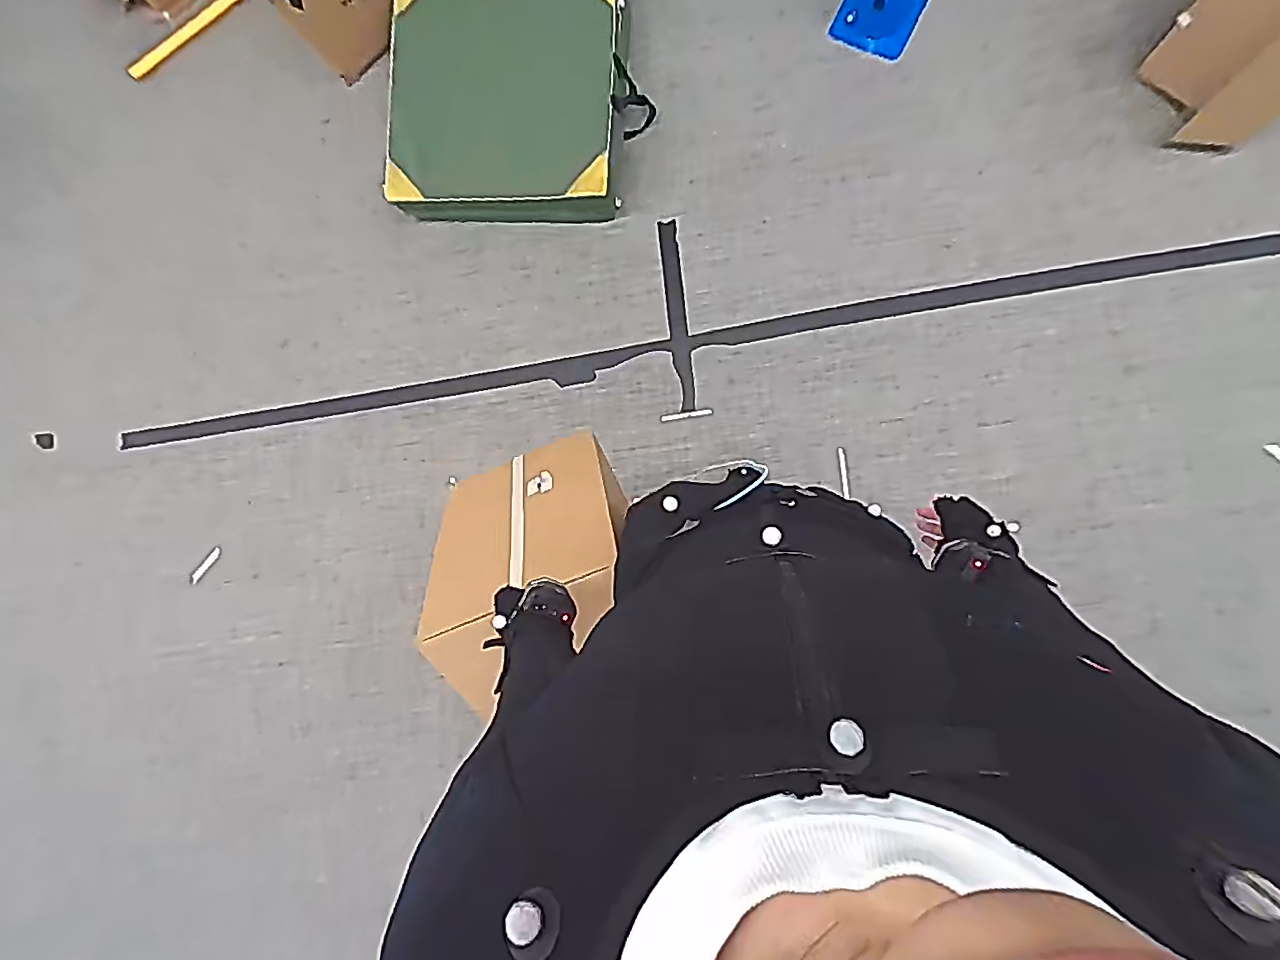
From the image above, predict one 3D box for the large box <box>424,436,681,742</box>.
[{"bbox_3d":[-0.152,0.185,1.007,0.320,0.408,0.320,-22,123,3],"label":"large box"}]
